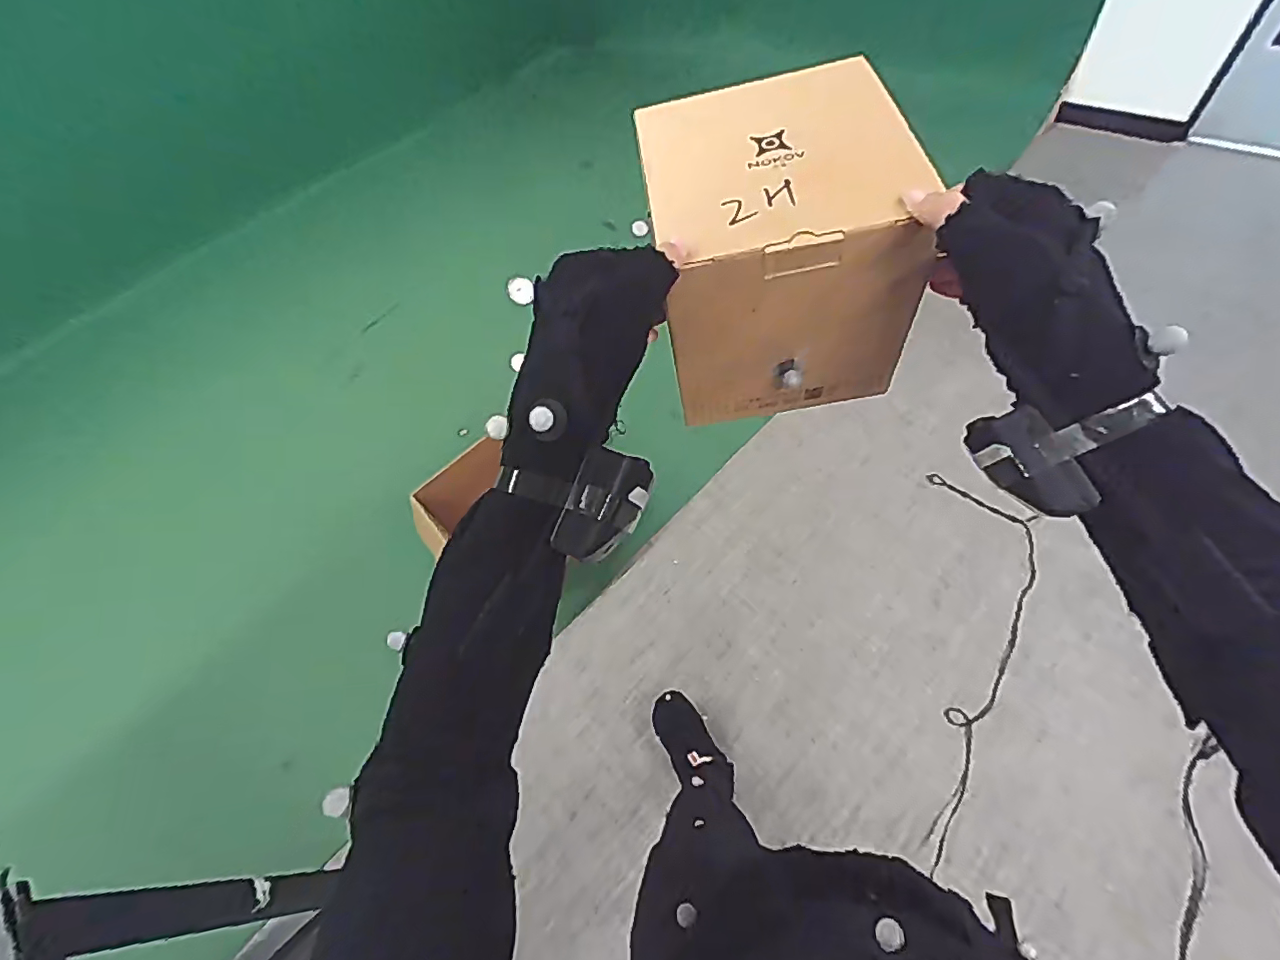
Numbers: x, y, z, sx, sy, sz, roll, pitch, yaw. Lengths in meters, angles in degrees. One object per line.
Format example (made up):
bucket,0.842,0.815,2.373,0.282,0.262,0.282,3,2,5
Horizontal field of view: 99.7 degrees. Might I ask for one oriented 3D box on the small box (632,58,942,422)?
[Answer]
small box,0.092,-0.170,0.412,0.168,0.176,0.179,-9,60,7
